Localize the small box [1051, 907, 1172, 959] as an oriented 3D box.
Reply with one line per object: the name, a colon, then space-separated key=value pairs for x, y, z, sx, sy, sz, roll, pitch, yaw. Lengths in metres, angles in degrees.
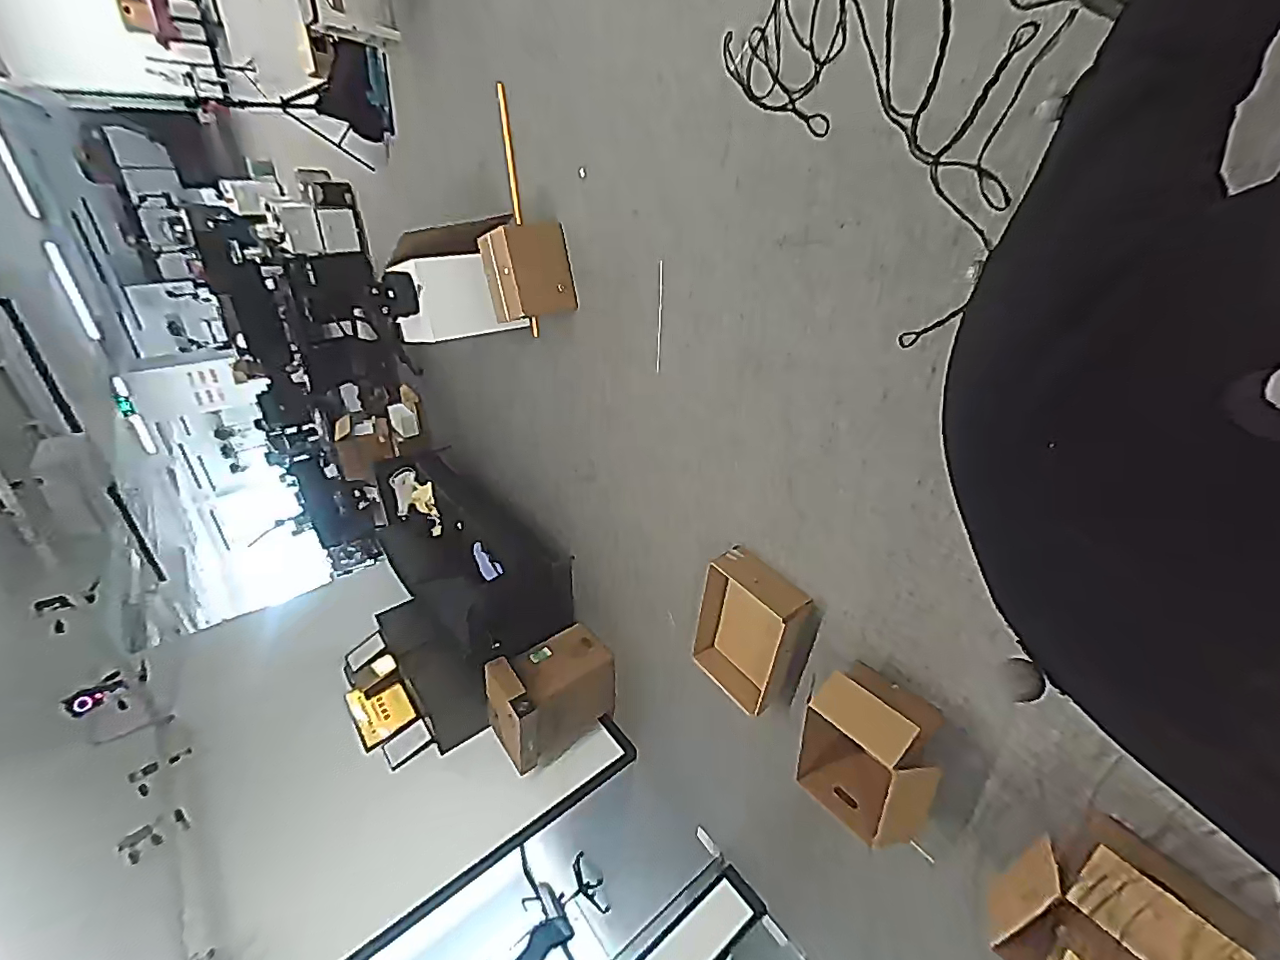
small box: x=1.136 y=1.176 z=1.293 sx=0.179 sy=0.176 sz=0.168 roll=39 pitch=139 yaw=43
